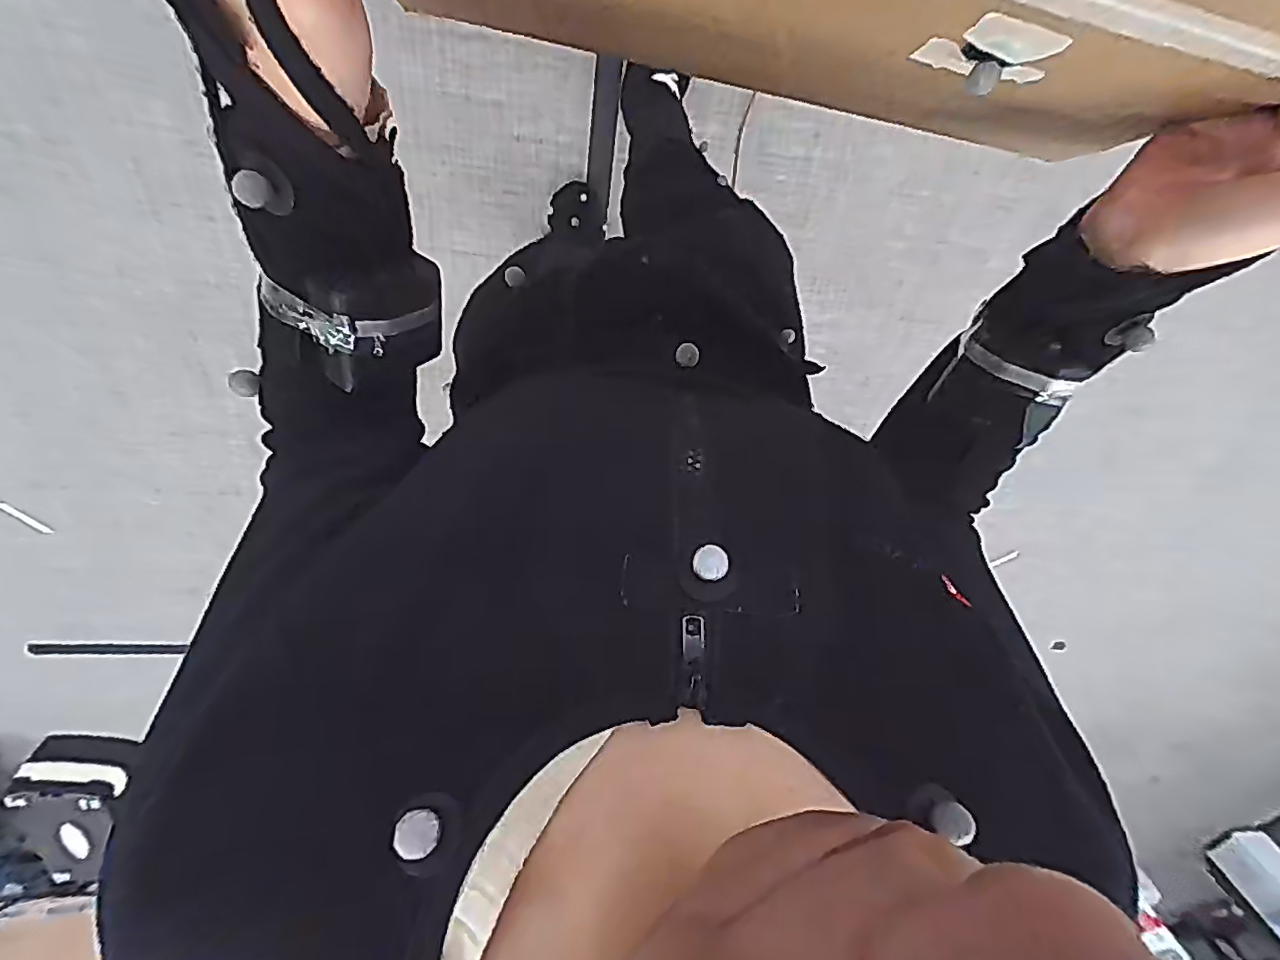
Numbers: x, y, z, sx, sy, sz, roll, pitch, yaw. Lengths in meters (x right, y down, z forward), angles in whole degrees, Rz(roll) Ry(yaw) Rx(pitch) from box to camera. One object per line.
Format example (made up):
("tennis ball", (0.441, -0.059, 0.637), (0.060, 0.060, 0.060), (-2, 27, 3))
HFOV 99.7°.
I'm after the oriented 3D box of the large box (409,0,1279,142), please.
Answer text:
("large box", (0.109, -0.328, 0.132), (0.408, 0.320, 0.320), (5, 110, -10))
